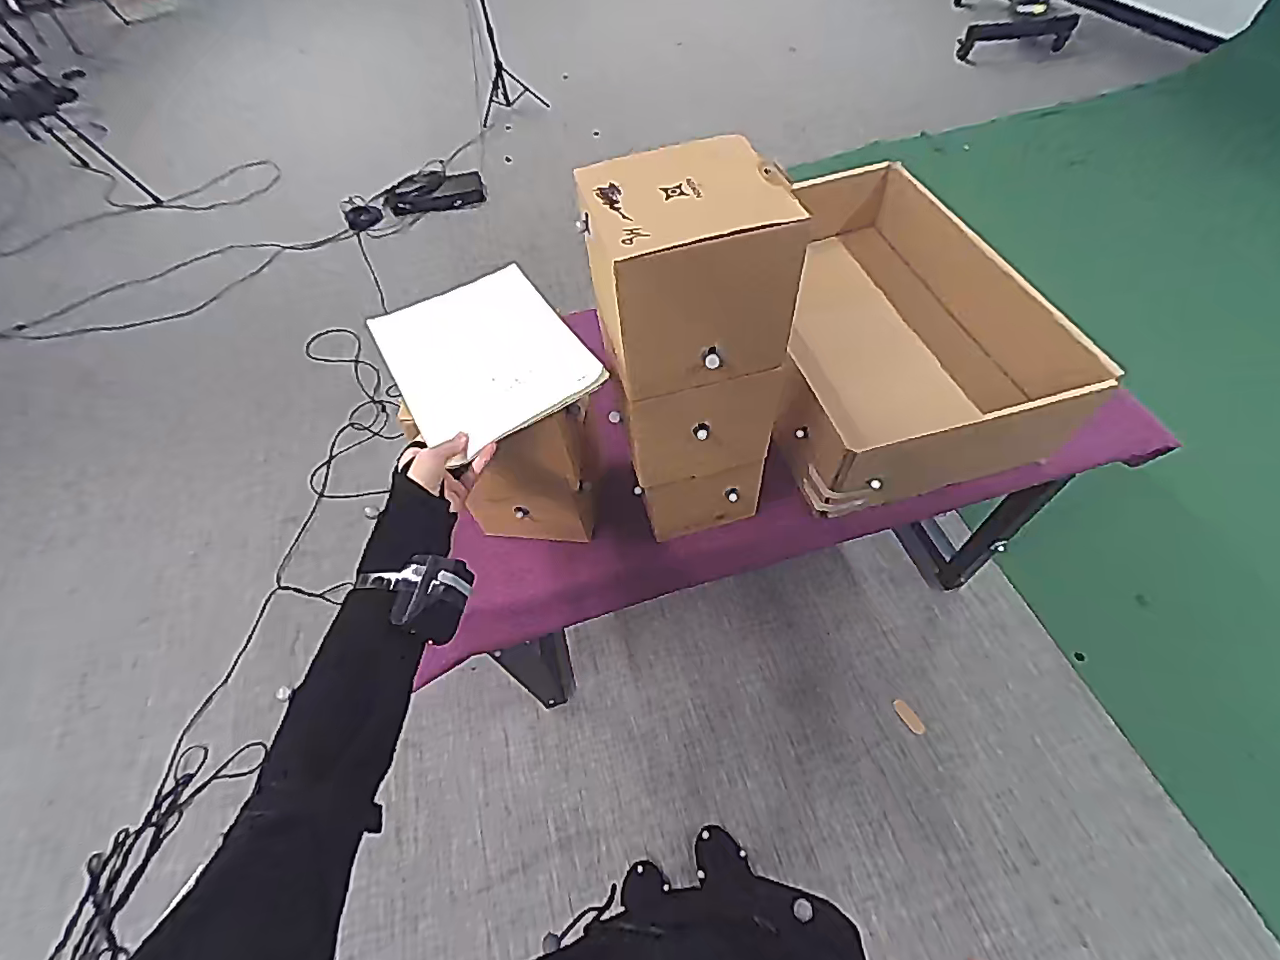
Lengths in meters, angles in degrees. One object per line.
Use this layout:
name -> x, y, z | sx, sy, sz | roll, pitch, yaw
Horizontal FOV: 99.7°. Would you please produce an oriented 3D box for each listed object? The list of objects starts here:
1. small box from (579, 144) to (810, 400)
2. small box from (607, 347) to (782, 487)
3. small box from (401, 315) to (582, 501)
small box -> 0.046, -0.209, 0.556 | 0.179, 0.176, 0.168 | -14, 54, -6
small box -> 0.059, -0.115, 0.691 | 0.179, 0.176, 0.168 | -15, 54, -4
small box -> -0.173, -0.087, 0.698 | 0.179, 0.176, 0.168 | -5, 55, 3
